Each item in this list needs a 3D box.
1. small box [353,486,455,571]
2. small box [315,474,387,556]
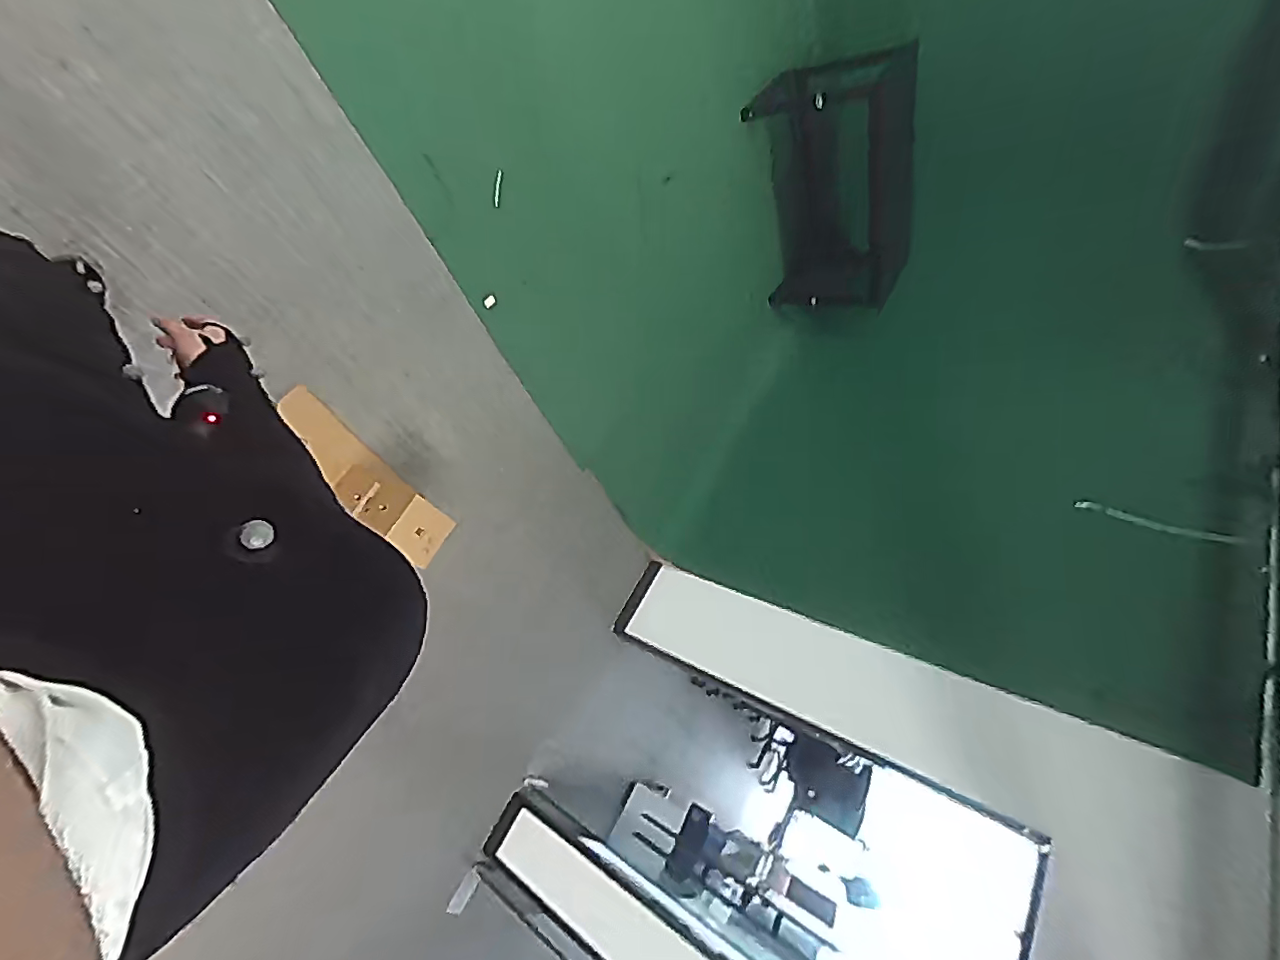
[{"bbox_3d":[-0.685,0.134,1.566,0.168,0.176,0.179,-58,144,-19],"label":"small box"},{"bbox_3d":[-0.831,0.101,1.640,0.168,0.176,0.179,-60,144,-19],"label":"small box"}]
